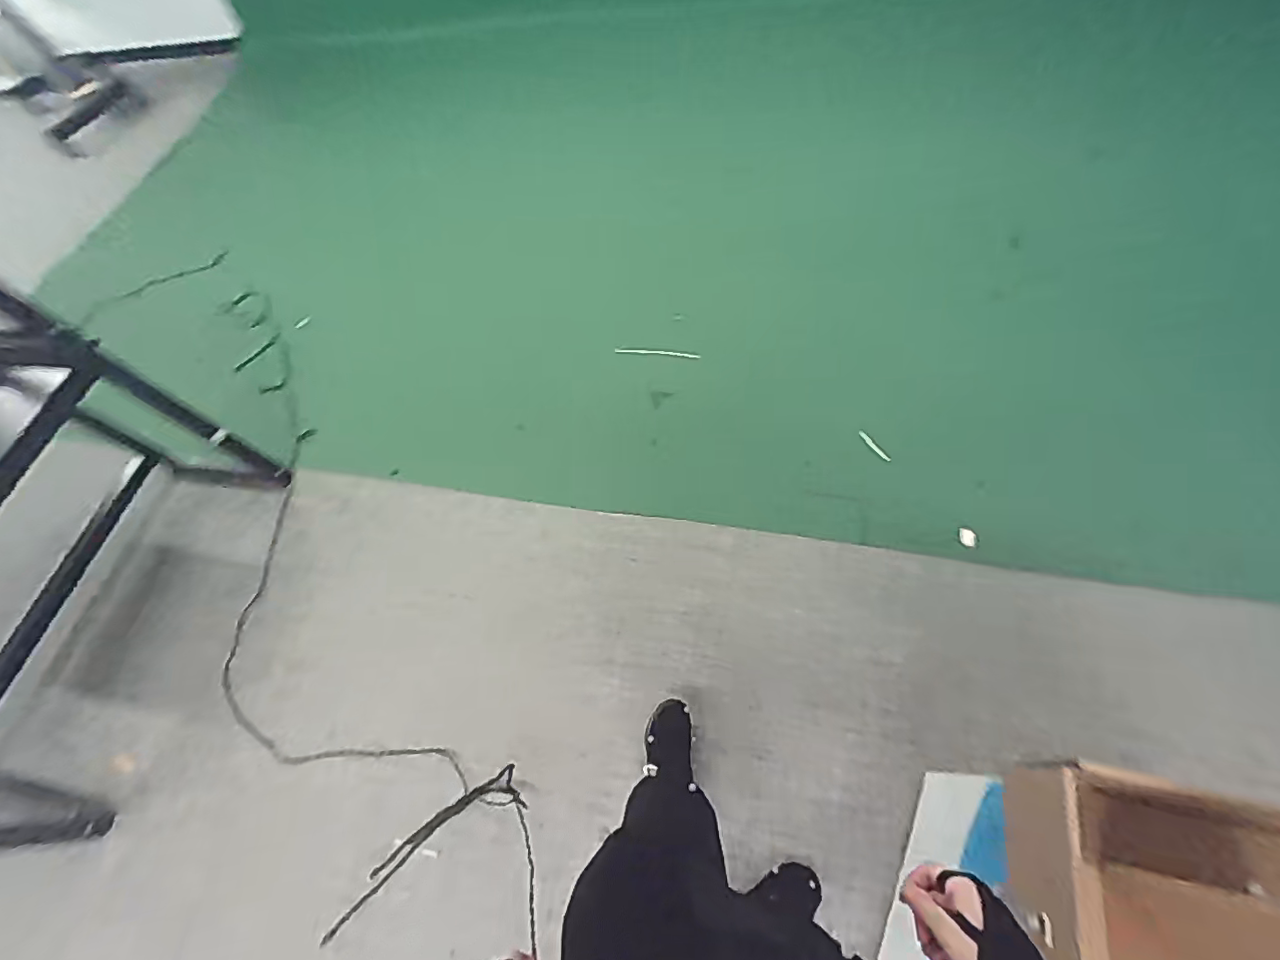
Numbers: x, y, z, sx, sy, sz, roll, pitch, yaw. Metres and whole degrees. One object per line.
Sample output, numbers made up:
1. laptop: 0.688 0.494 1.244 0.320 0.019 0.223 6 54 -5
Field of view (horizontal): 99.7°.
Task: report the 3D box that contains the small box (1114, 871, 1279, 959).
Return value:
1. small box: 0.636 0.538 0.556 0.168 0.176 0.179 8 67 13
